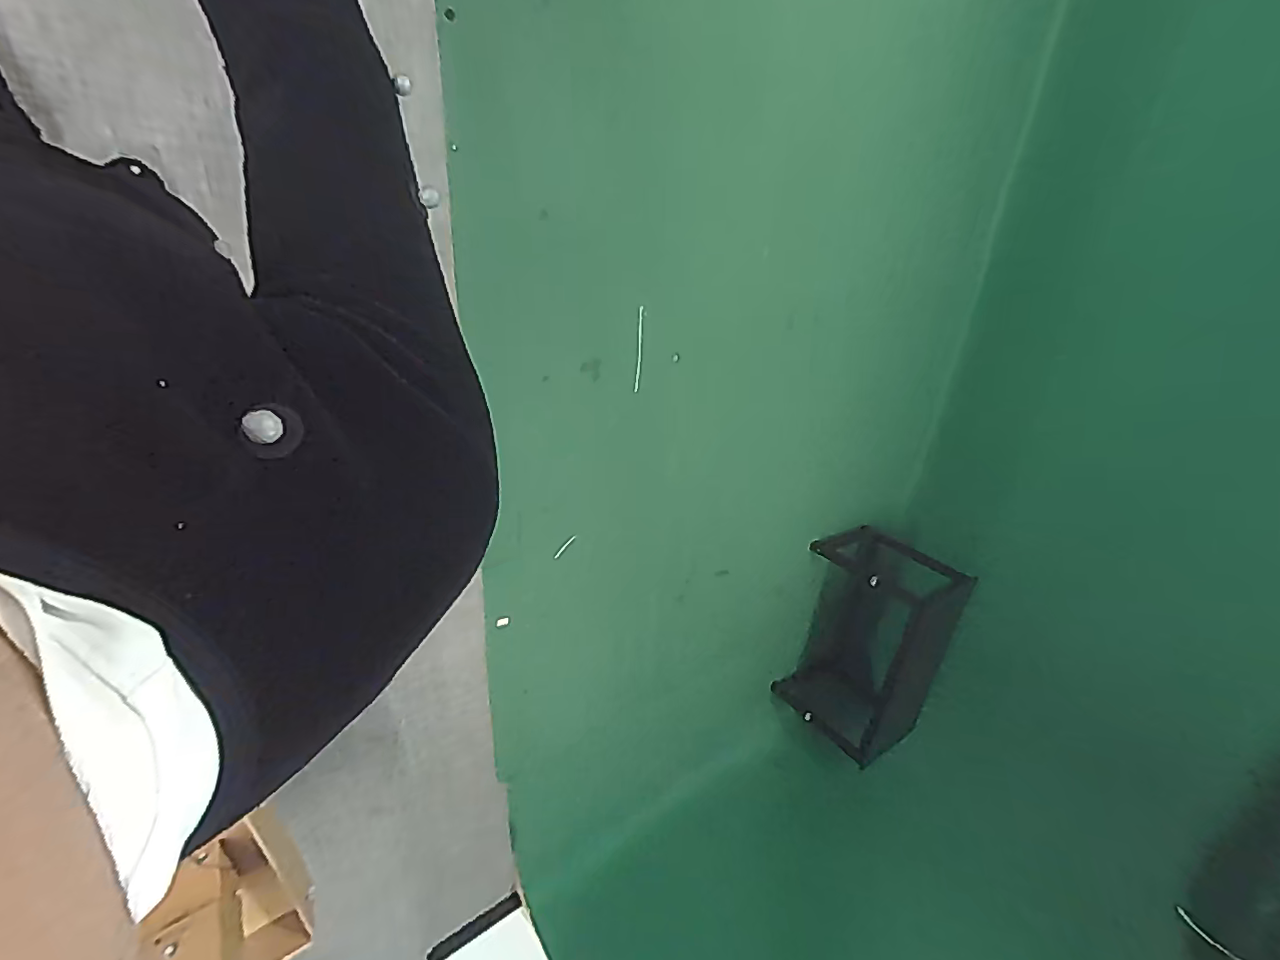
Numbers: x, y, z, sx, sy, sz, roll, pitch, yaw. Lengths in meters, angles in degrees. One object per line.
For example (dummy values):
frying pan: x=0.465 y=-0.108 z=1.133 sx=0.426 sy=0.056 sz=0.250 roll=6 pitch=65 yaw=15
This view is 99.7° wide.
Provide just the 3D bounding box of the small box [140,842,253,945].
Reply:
small box: x=-1.037 y=1.000 z=1.269 sx=0.168 sy=0.176 sz=0.179 roll=-17 pitch=125 yaw=-32

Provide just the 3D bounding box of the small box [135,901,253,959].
small box: x=-0.940 y=1.056 z=1.148 sx=0.168 sy=0.176 sz=0.179 roll=-19 pitch=125 yaw=-32
